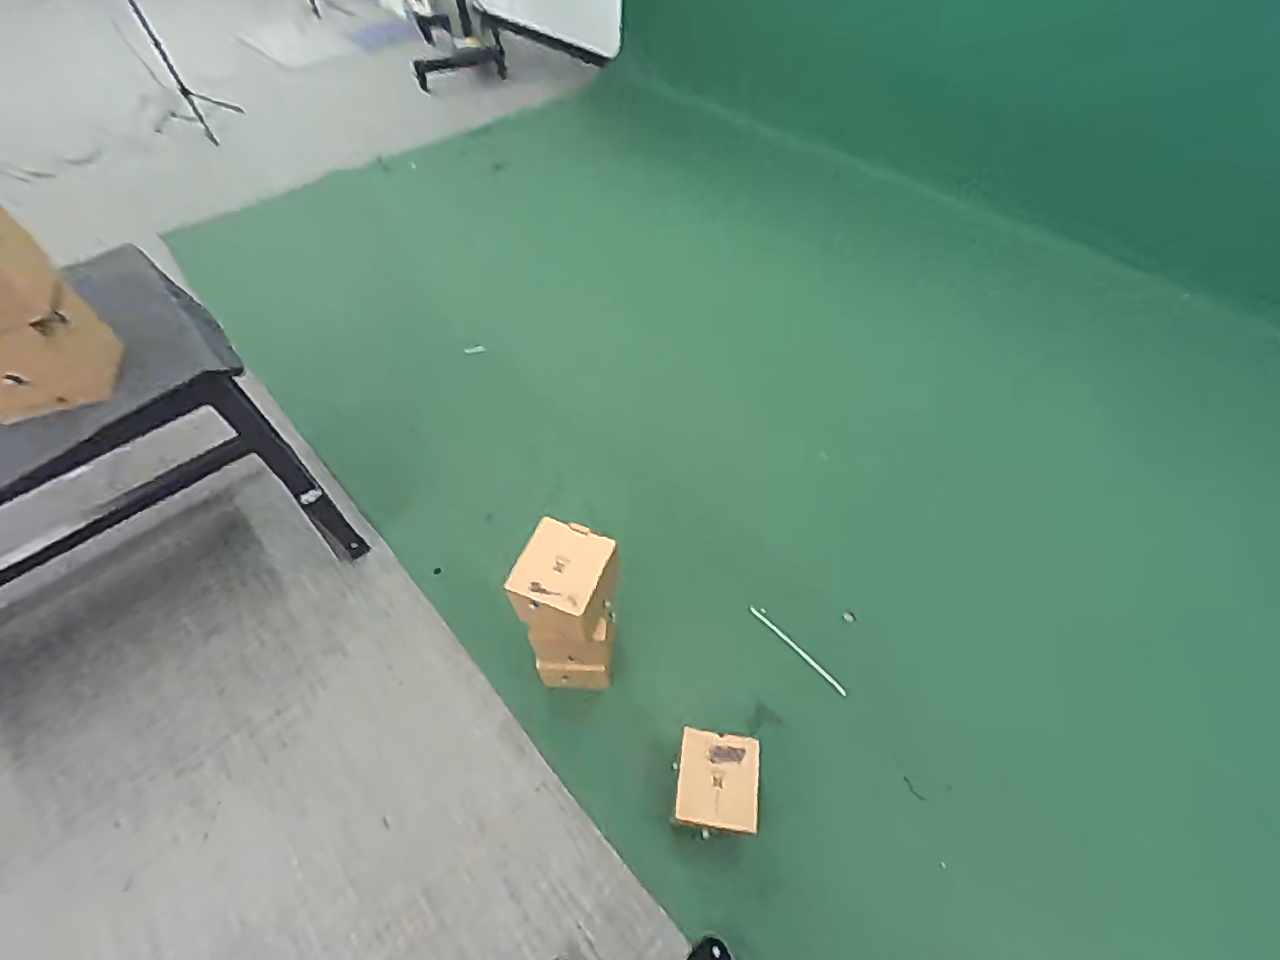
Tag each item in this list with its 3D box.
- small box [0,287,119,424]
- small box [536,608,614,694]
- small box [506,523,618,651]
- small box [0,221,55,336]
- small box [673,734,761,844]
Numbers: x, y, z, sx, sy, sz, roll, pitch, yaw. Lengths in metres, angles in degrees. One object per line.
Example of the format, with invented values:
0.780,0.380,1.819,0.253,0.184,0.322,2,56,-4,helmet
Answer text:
-1.072,-0.218,0.945,0.168,0.176,0.179,-19,54,-13,small box
-0.157,0.433,1.372,0.168,0.176,0.179,2,53,2,small box
-0.151,0.223,1.118,0.168,0.176,0.179,17,56,13,small box
-1.055,-0.320,0.818,0.168,0.176,0.179,-23,55,-17,small box
0.165,0.679,1.186,0.168,0.176,0.179,7,55,6,small box
